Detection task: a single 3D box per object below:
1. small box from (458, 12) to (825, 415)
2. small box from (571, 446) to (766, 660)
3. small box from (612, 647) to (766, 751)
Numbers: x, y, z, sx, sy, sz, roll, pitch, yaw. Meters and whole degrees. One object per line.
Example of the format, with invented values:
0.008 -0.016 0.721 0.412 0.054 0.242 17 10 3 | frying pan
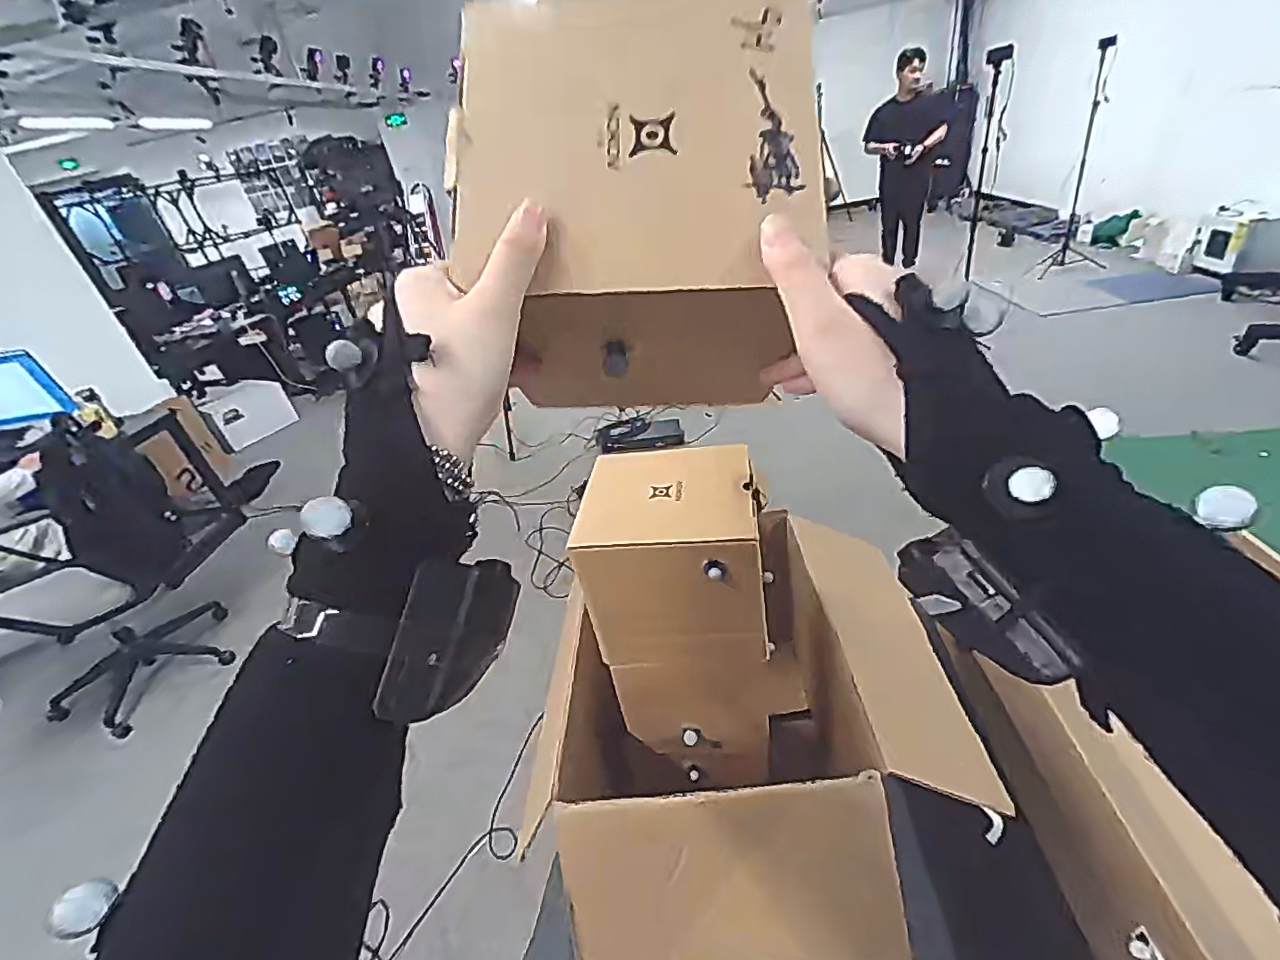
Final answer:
0.006 -0.143 0.346 0.179 0.168 0.176 -1 -11 4 | small box
0.042 0.080 0.593 0.179 0.176 0.168 -3 34 11 | small box
0.069 0.211 0.683 0.168 0.176 0.179 -4 35 10 | small box
